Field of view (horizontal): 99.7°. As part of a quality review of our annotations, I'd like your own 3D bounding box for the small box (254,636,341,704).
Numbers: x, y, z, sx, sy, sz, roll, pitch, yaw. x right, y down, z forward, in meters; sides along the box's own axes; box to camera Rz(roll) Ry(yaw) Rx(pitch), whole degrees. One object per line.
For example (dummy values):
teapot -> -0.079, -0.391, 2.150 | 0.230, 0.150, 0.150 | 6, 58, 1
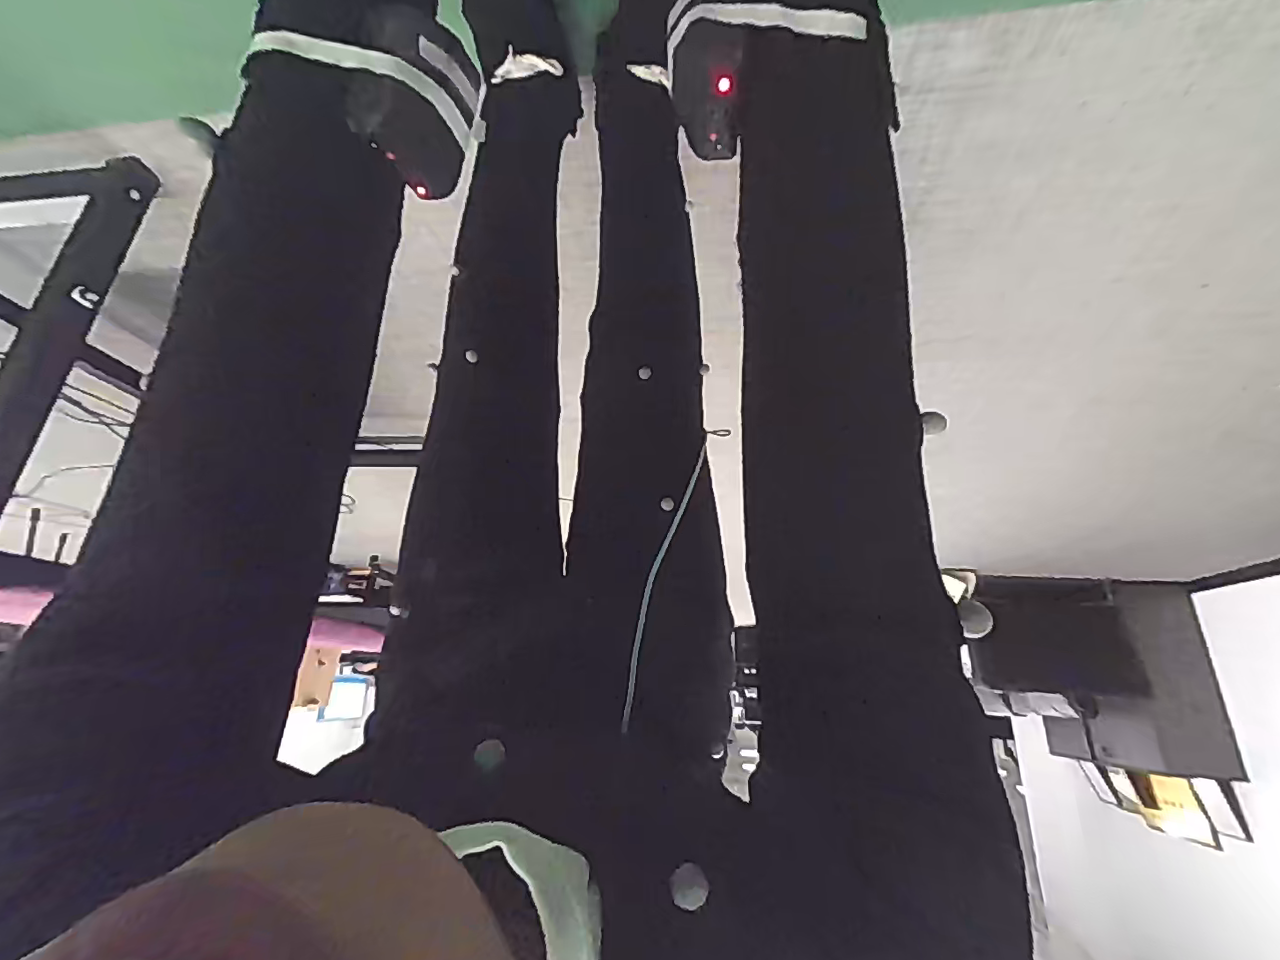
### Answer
small box -> -0.987, 0.536, 1.527 | 0.179, 0.176, 0.168 | 1, 159, 8
